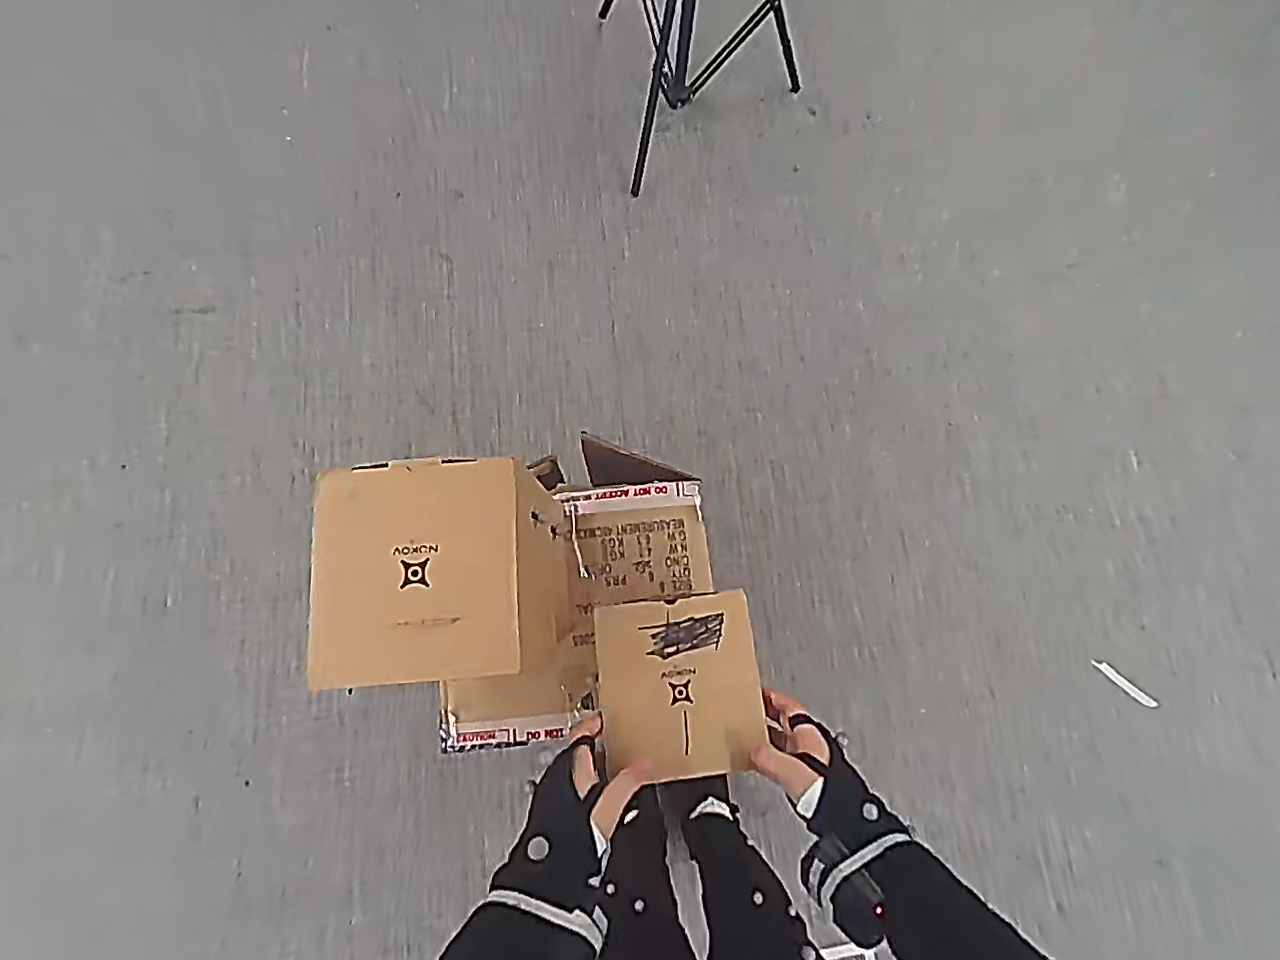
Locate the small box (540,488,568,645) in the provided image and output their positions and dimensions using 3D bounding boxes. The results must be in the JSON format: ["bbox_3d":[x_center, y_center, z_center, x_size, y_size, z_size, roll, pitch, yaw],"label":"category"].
[{"bbox_3d":[-0.183,0.114,0.676,0.168,0.176,0.179,-4,80,-2],"label":"small box"}]

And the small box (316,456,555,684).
[{"bbox_3d":[-0.177,0.084,0.516,0.168,0.176,0.179,-5,80,0],"label":"small box"}]

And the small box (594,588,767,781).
[{"bbox_3d":[0.033,0.229,0.633,0.168,0.176,0.179,-4,74,-6],"label":"small box"}]
